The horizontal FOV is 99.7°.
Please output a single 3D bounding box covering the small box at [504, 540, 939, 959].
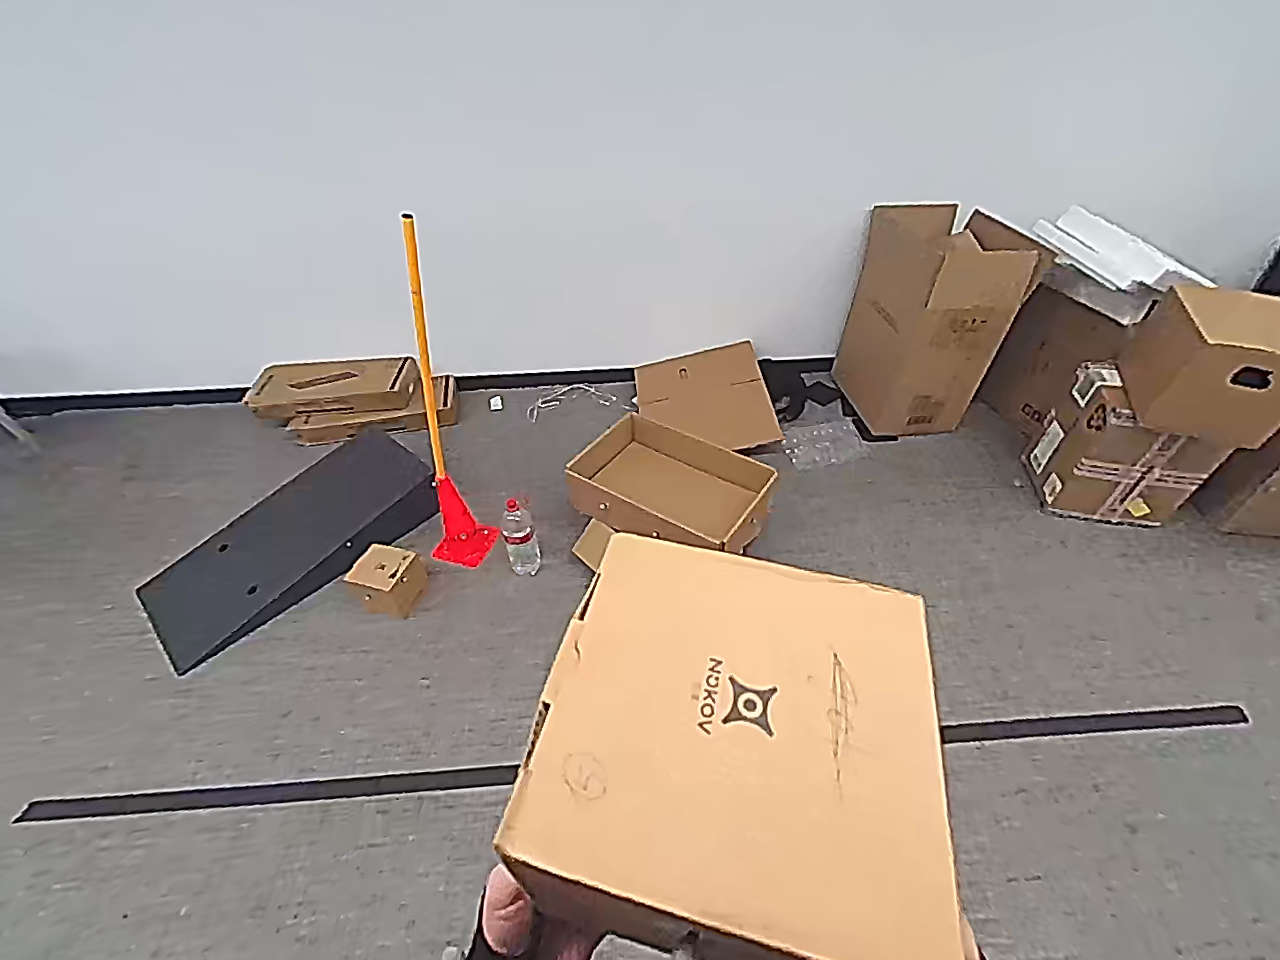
[{"bbox_3d":[0.044,0.164,0.321,0.179,0.176,0.168,11,46,8],"label":"small box"}]
